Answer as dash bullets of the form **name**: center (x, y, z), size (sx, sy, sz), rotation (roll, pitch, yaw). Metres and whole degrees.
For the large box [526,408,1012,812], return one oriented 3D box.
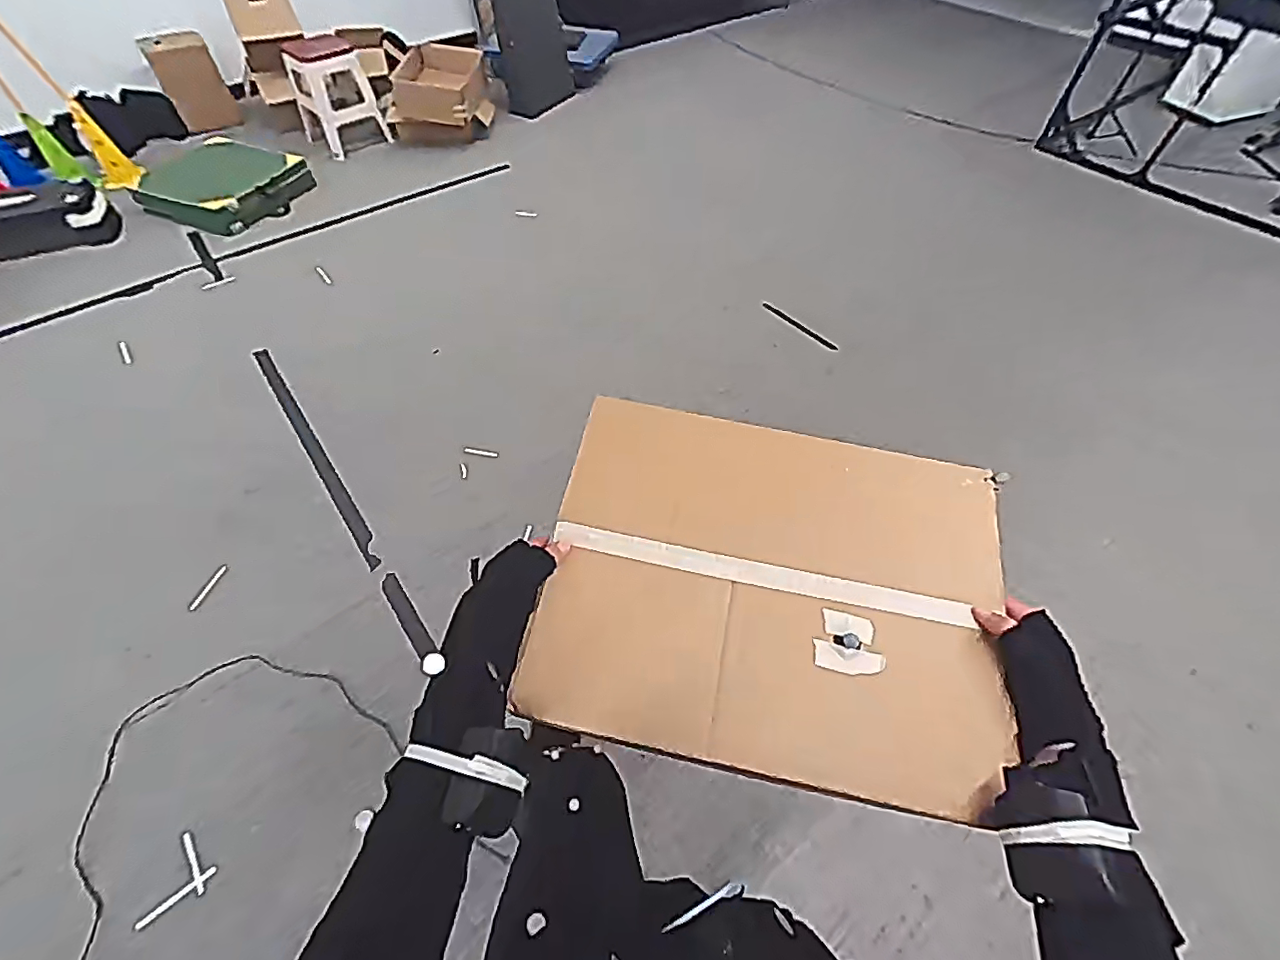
- **large box**: center (0.121, 0.156, 0.631), size (0.408, 0.320, 0.320), rotation (12, 65, 4)
